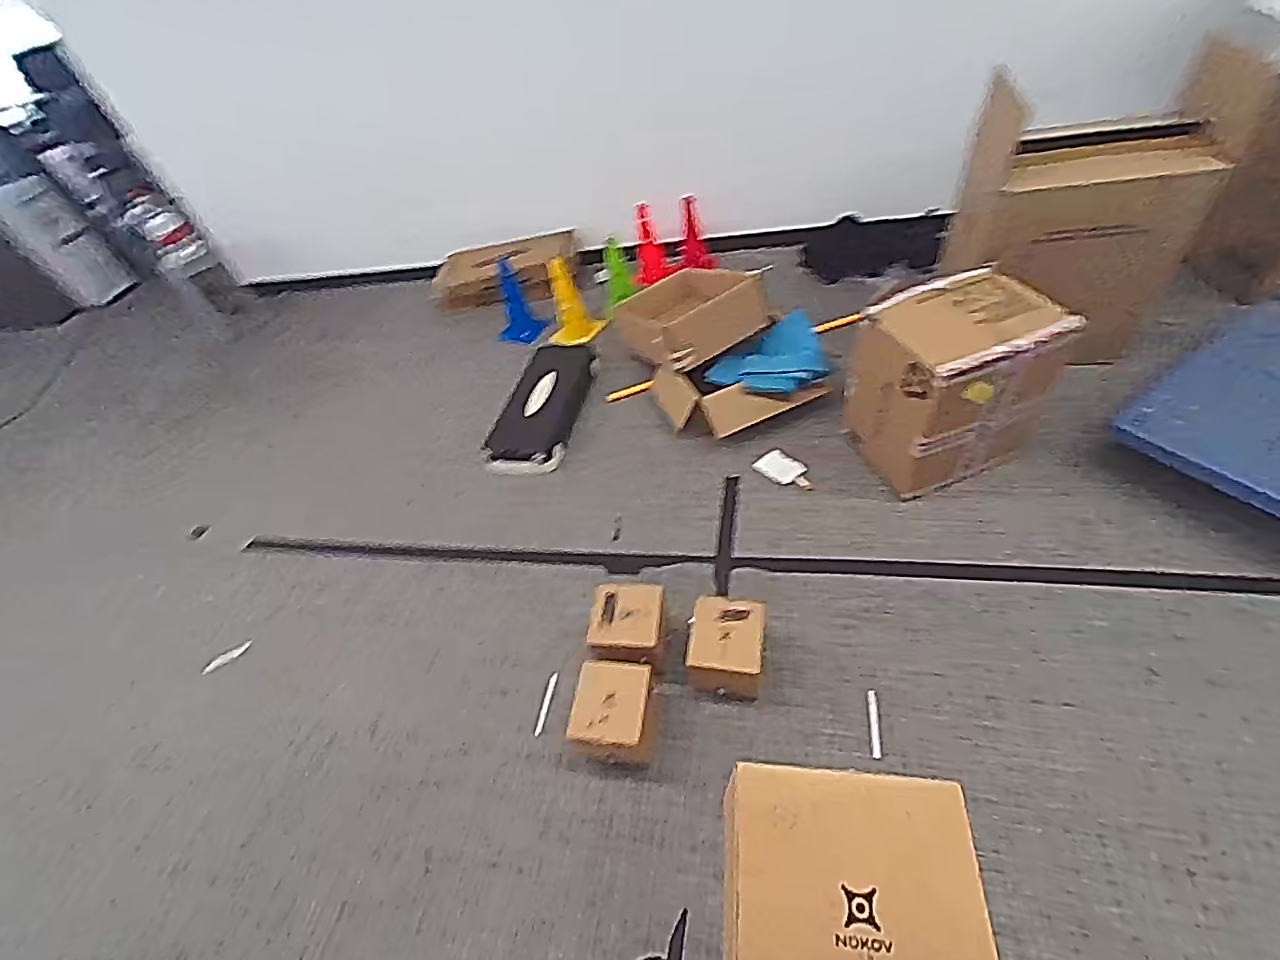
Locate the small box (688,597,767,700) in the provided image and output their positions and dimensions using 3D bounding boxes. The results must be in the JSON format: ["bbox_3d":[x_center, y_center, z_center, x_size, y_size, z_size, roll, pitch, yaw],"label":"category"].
[{"bbox_3d":[0.220,0.414,1.330,0.168,0.176,0.179,3,51,16],"label":"small box"}]

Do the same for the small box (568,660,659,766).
[{"bbox_3d":[-0.053,0.548,1.273,0.168,0.176,0.179,0,49,14],"label":"small box"}]

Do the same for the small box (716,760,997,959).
[{"bbox_3d":[0.145,0.335,0.414,0.168,0.176,0.179,2,53,6],"label":"small box"}]
